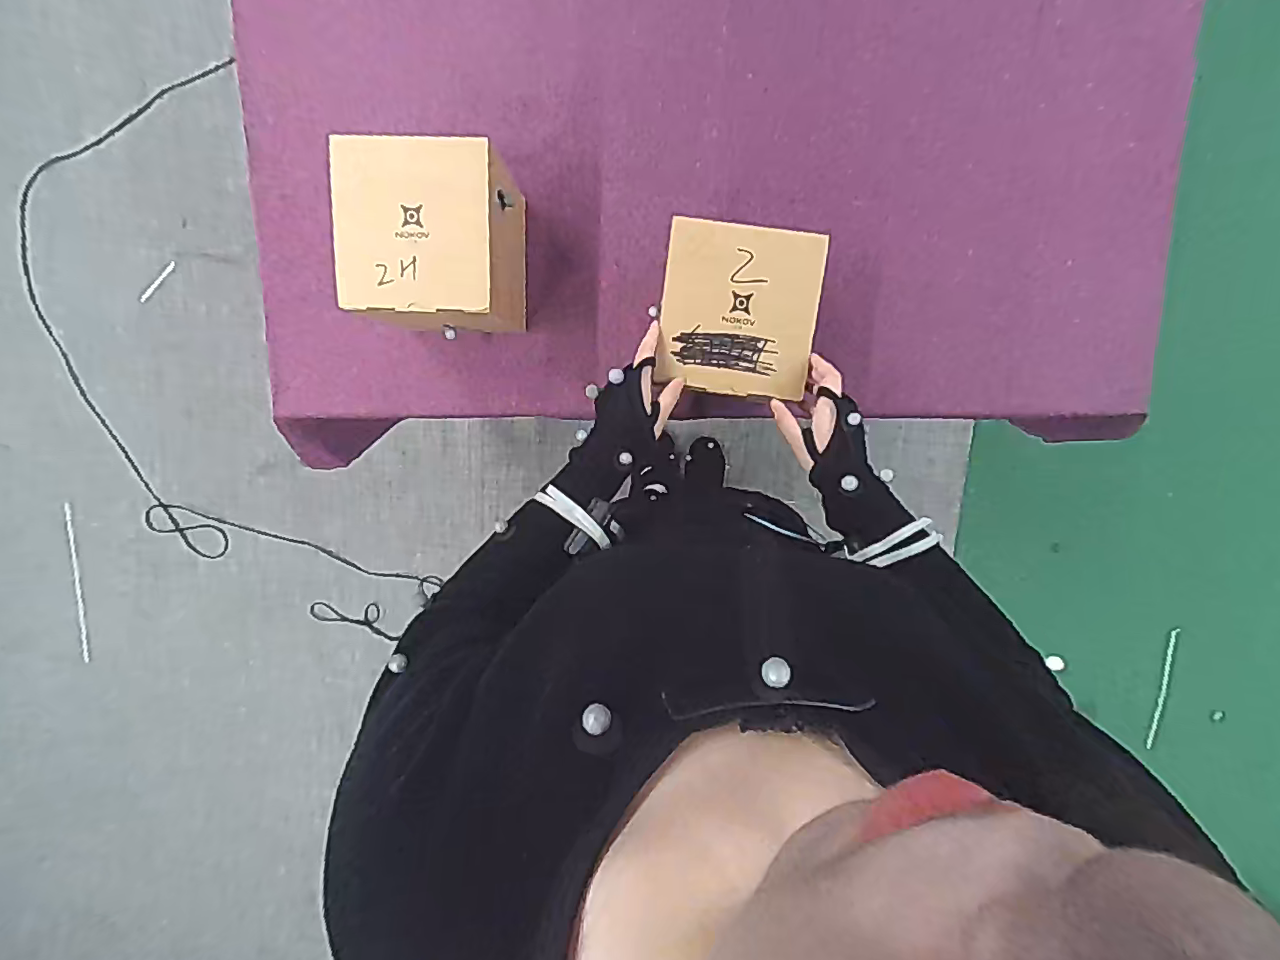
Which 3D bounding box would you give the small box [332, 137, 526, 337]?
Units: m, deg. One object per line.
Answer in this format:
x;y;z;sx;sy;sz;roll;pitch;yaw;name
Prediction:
-0.236;-0.273;0.643;0.168;0.176;0.179;1;98;1;small box
